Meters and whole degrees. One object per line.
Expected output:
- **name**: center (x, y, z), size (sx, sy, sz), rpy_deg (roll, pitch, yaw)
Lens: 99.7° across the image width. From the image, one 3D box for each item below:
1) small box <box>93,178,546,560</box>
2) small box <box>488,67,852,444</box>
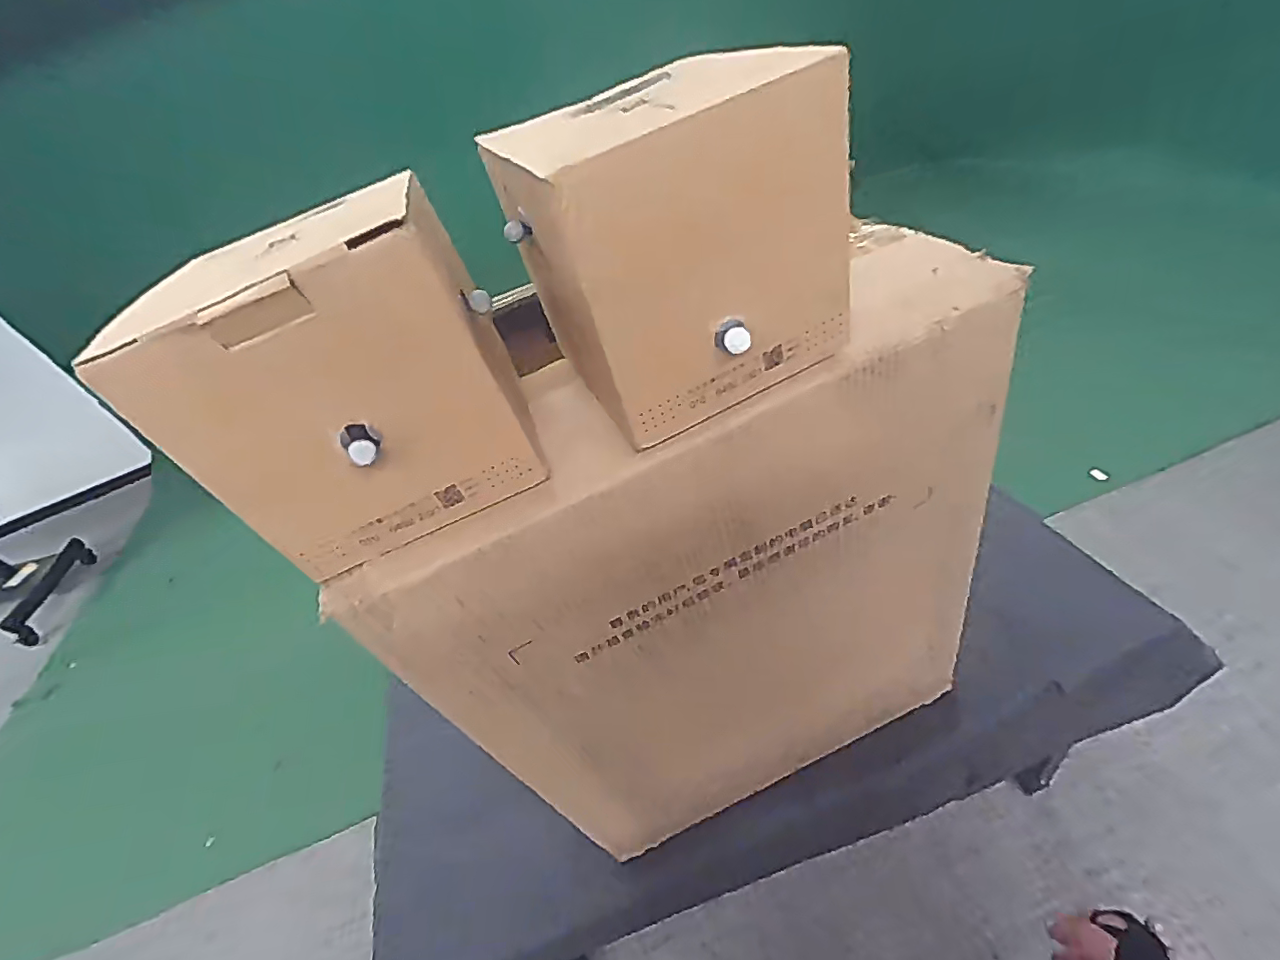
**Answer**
- **small box**: center (-0.178, -0.070, 0.363), size (0.168, 0.176, 0.179), rpy_deg (-25, 41, -3)
- **small box**: center (0.019, -0.154, 0.371), size (0.168, 0.176, 0.179), rpy_deg (-27, 42, -8)
